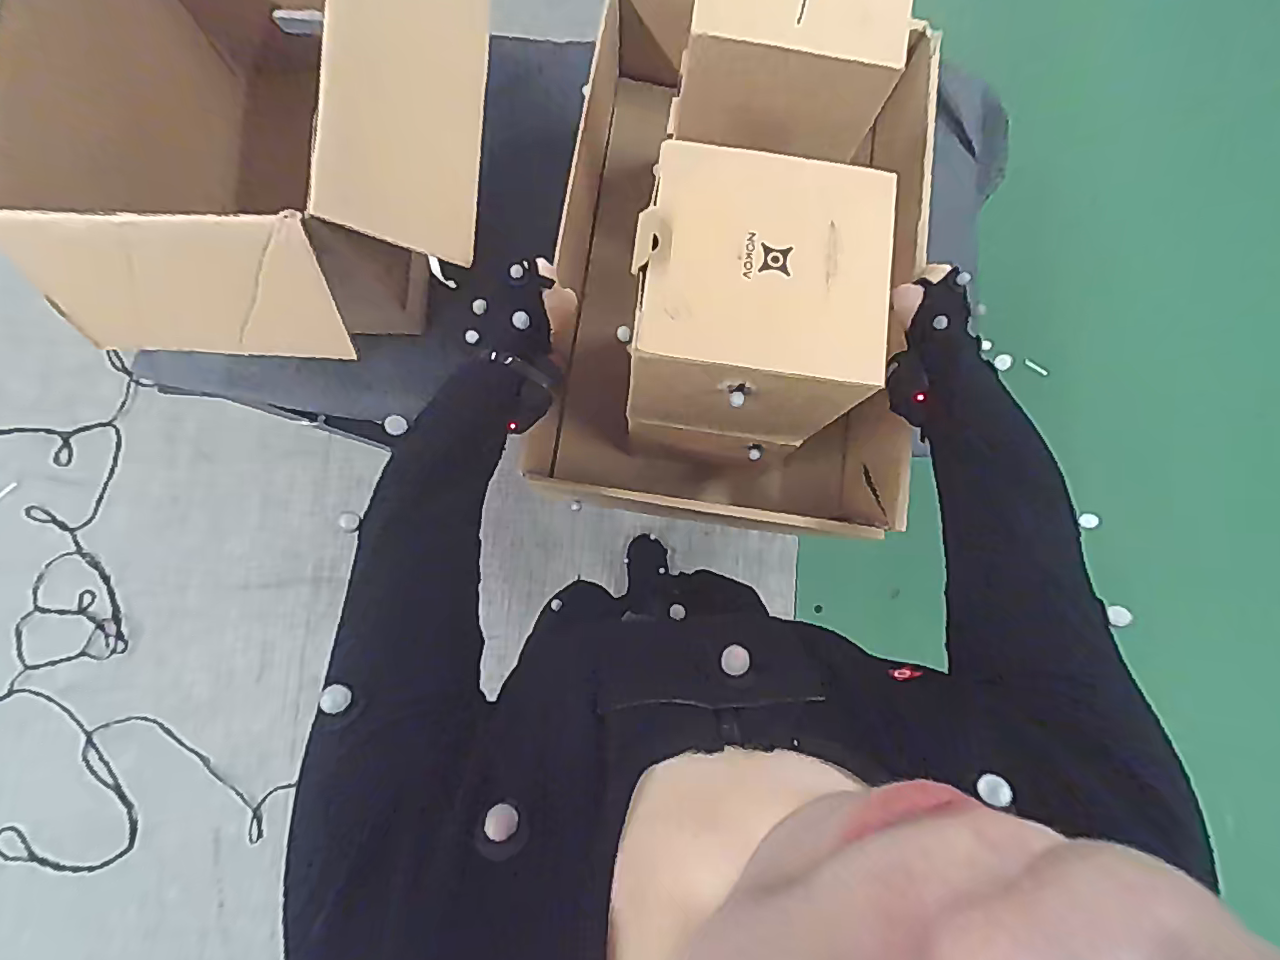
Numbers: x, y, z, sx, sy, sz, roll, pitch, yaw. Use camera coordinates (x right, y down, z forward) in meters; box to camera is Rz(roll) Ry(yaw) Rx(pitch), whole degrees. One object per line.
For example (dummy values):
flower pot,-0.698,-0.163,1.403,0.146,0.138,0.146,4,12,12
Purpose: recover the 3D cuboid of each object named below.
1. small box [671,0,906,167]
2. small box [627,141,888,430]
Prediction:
small box,0.125,-0.398,0.501,0.168,0.176,0.179,10,84,-2
small box,0.085,-0.148,0.469,0.179,0.176,0.168,8,82,-3
